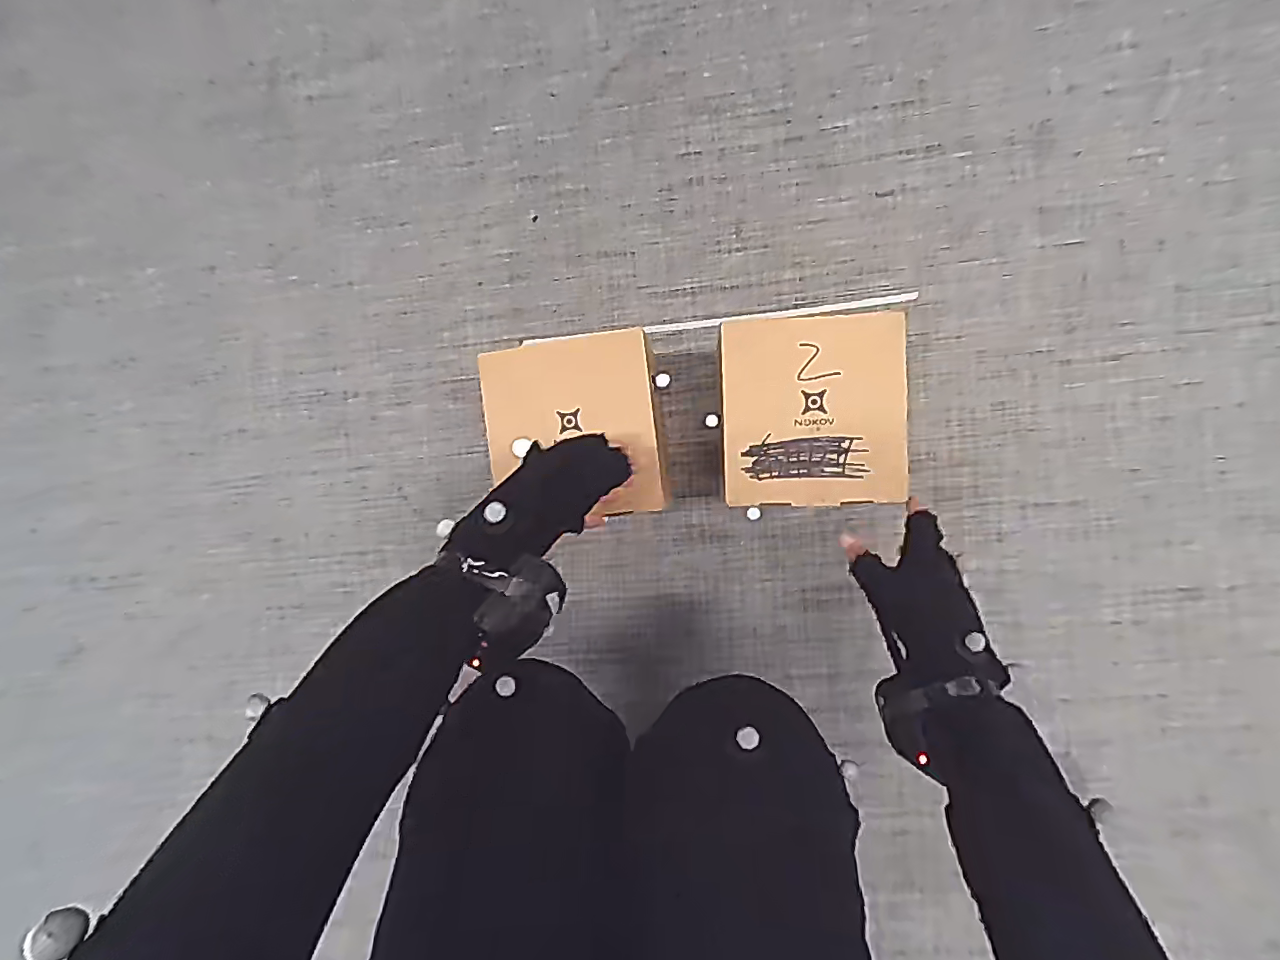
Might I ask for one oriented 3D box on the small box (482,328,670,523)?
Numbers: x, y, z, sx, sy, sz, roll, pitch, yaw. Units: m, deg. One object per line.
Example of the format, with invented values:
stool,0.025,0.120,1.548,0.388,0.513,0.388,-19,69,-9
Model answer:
small box,-0.059,-0.053,0.603,0.168,0.176,0.179,-7,91,7
